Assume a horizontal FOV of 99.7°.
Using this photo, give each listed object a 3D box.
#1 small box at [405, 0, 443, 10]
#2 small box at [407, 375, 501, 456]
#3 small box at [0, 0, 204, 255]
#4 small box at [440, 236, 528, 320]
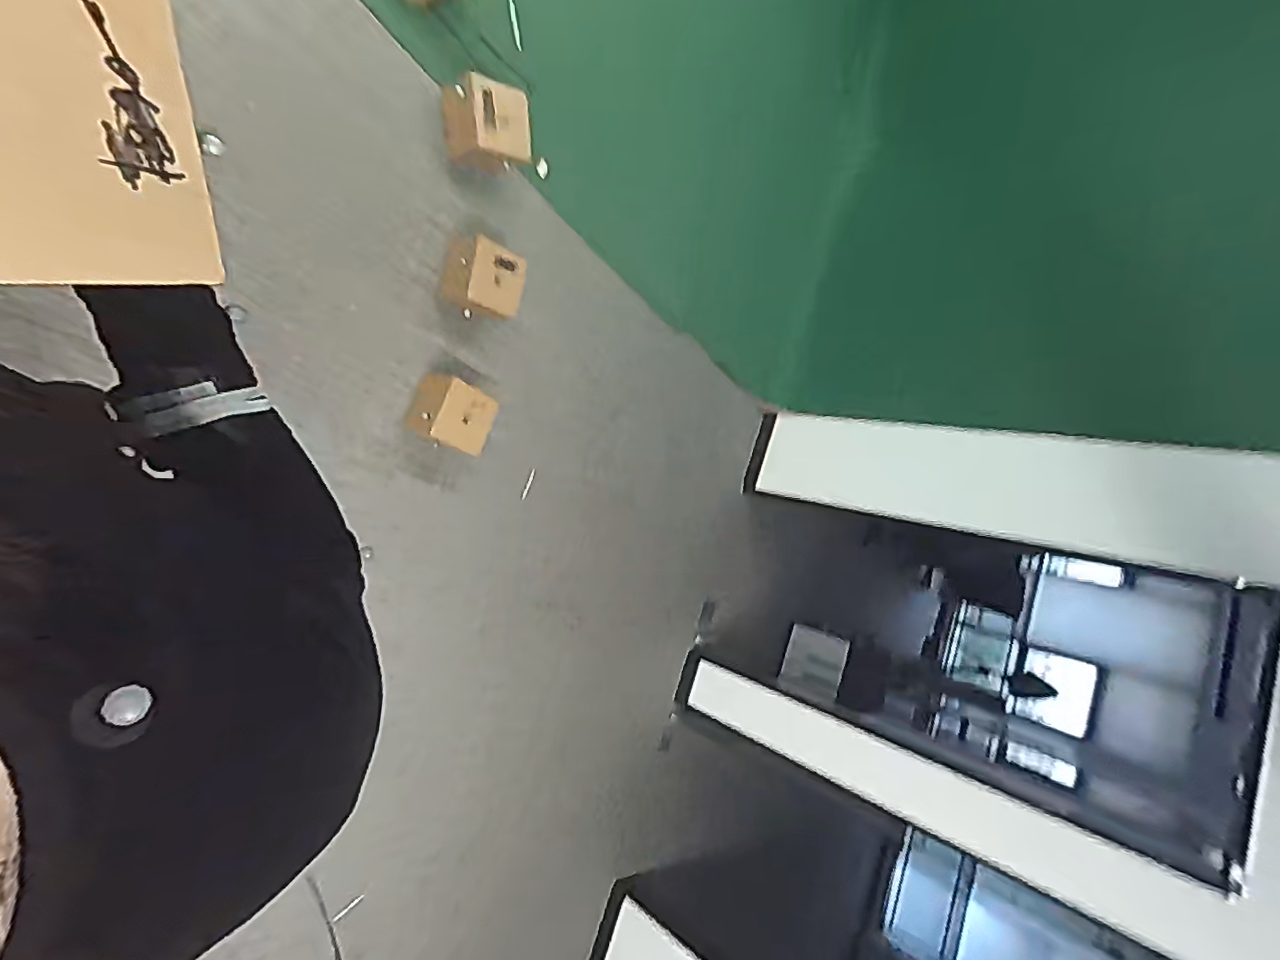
[{"bbox_3d":[-0.509,-1.303,1.324,0.179,0.176,0.168,-53,134,-27],"label":"small box"},{"bbox_3d":[-0.540,-0.187,1.560,0.168,0.176,0.179,31,75,-49],"label":"small box"},{"bbox_3d":[-0.328,-0.198,0.233,0.179,0.176,0.168,-18,126,-41],"label":"small box"},{"bbox_3d":[-0.454,-0.576,1.563,0.168,0.176,0.179,12,91,-50],"label":"small box"}]
